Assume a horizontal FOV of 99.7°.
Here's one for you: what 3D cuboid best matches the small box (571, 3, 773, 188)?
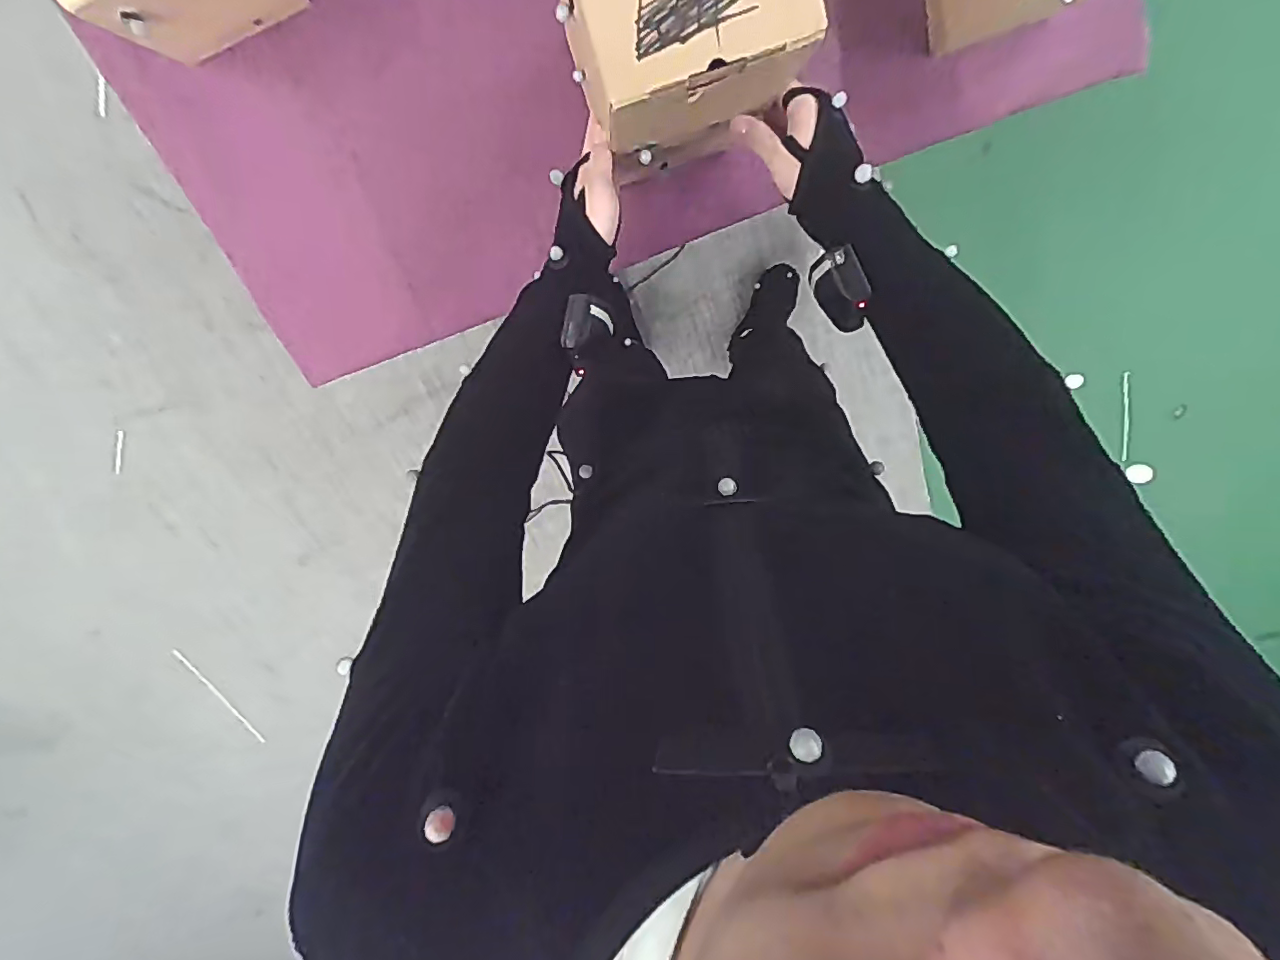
[{"bbox_3d":[0.026,-0.449,0.589,0.168,0.176,0.179,-18,109,3],"label":"small box"}]

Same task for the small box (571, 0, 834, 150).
[{"bbox_3d":[0.033,-0.393,0.434,0.168,0.176,0.179,-17,107,3],"label":"small box"}]

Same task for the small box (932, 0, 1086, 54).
[{"bbox_3d":[0.425,-0.599,0.565,0.168,0.176,0.179,-17,111,4],"label":"small box"}]
